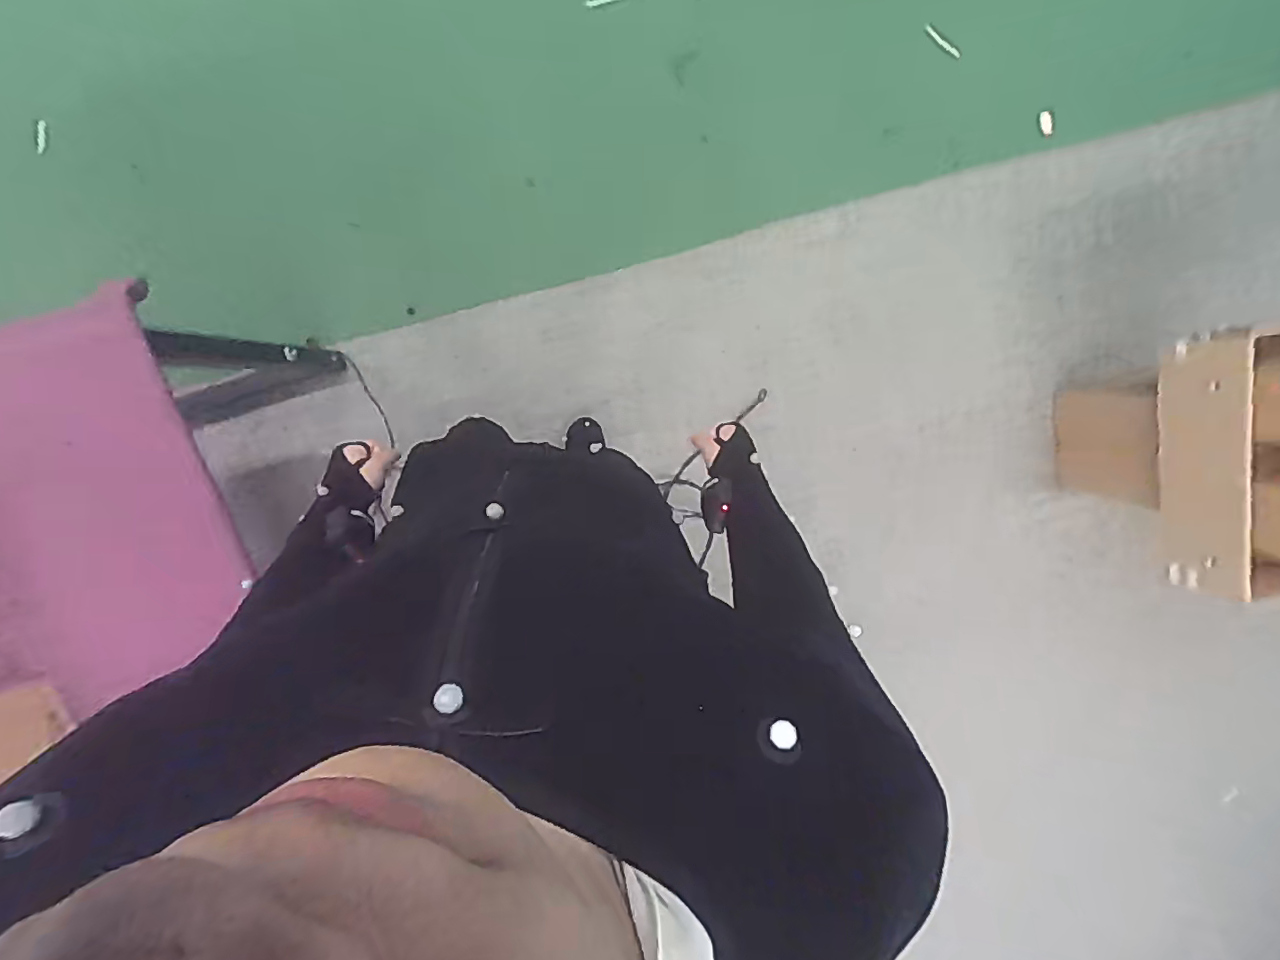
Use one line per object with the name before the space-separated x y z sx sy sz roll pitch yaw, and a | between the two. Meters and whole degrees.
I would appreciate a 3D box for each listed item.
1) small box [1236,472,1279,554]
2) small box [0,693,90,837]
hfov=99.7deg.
small box | 1.501 0.073 1.199 0.179 0.176 0.168 -10 100 0
small box | -1.029 0.460 0.826 0.179 0.176 0.168 -18 100 0
